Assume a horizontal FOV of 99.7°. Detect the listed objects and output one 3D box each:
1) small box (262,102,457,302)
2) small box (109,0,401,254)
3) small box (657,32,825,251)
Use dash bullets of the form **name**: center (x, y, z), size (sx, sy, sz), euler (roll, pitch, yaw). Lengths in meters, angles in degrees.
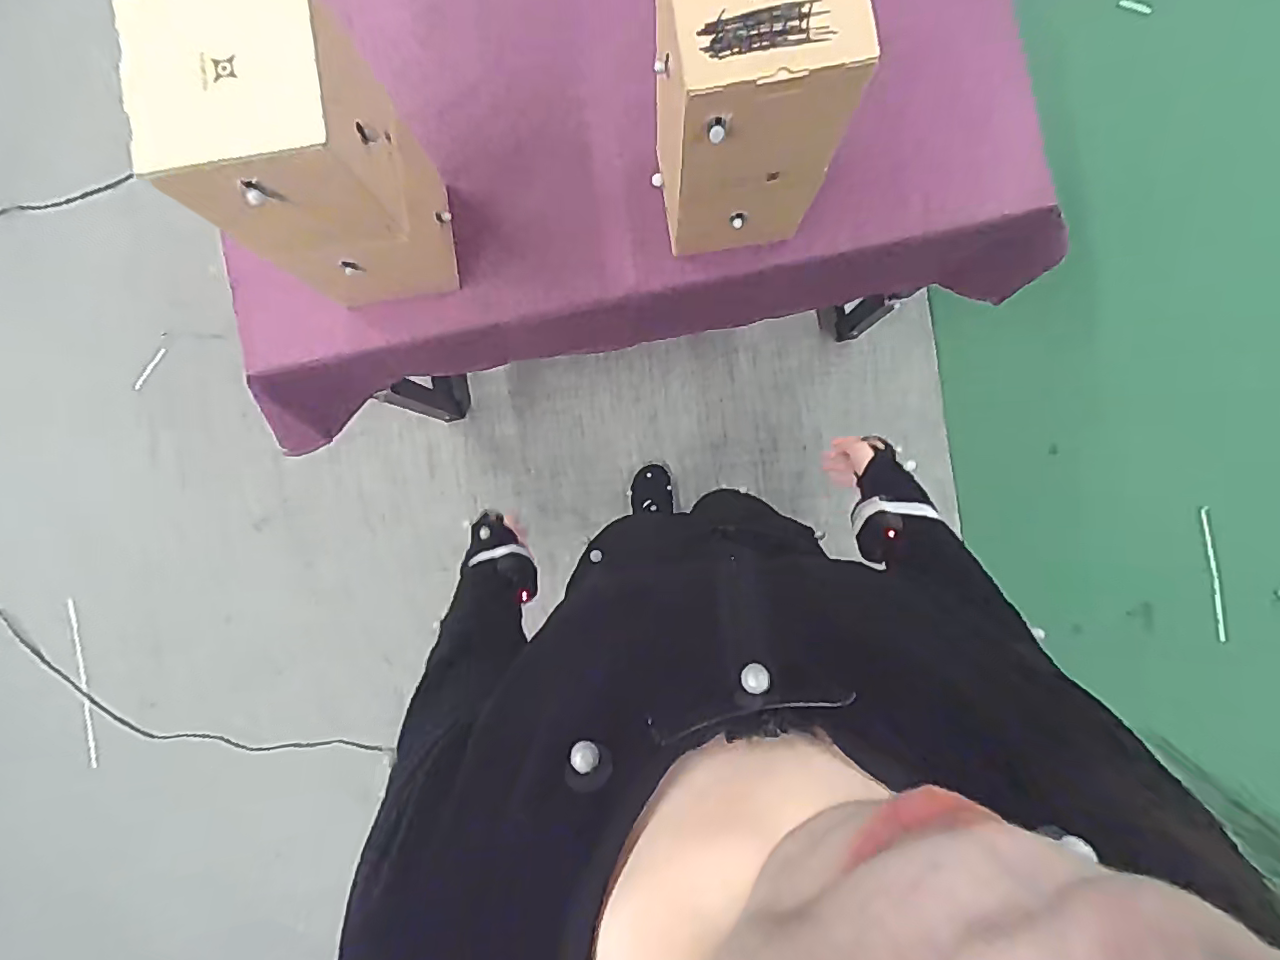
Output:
- **small box**: center (-0.363, -0.349, 0.711), size (0.179, 0.176, 0.168), euler (-8, 89, 1)
- **small box**: center (-0.363, -0.353, 0.547), size (0.179, 0.176, 0.168), euler (-9, 89, 2)
- **small box**: center (0.118, -0.420, 0.700), size (0.179, 0.176, 0.168), euler (-9, 89, 2)
